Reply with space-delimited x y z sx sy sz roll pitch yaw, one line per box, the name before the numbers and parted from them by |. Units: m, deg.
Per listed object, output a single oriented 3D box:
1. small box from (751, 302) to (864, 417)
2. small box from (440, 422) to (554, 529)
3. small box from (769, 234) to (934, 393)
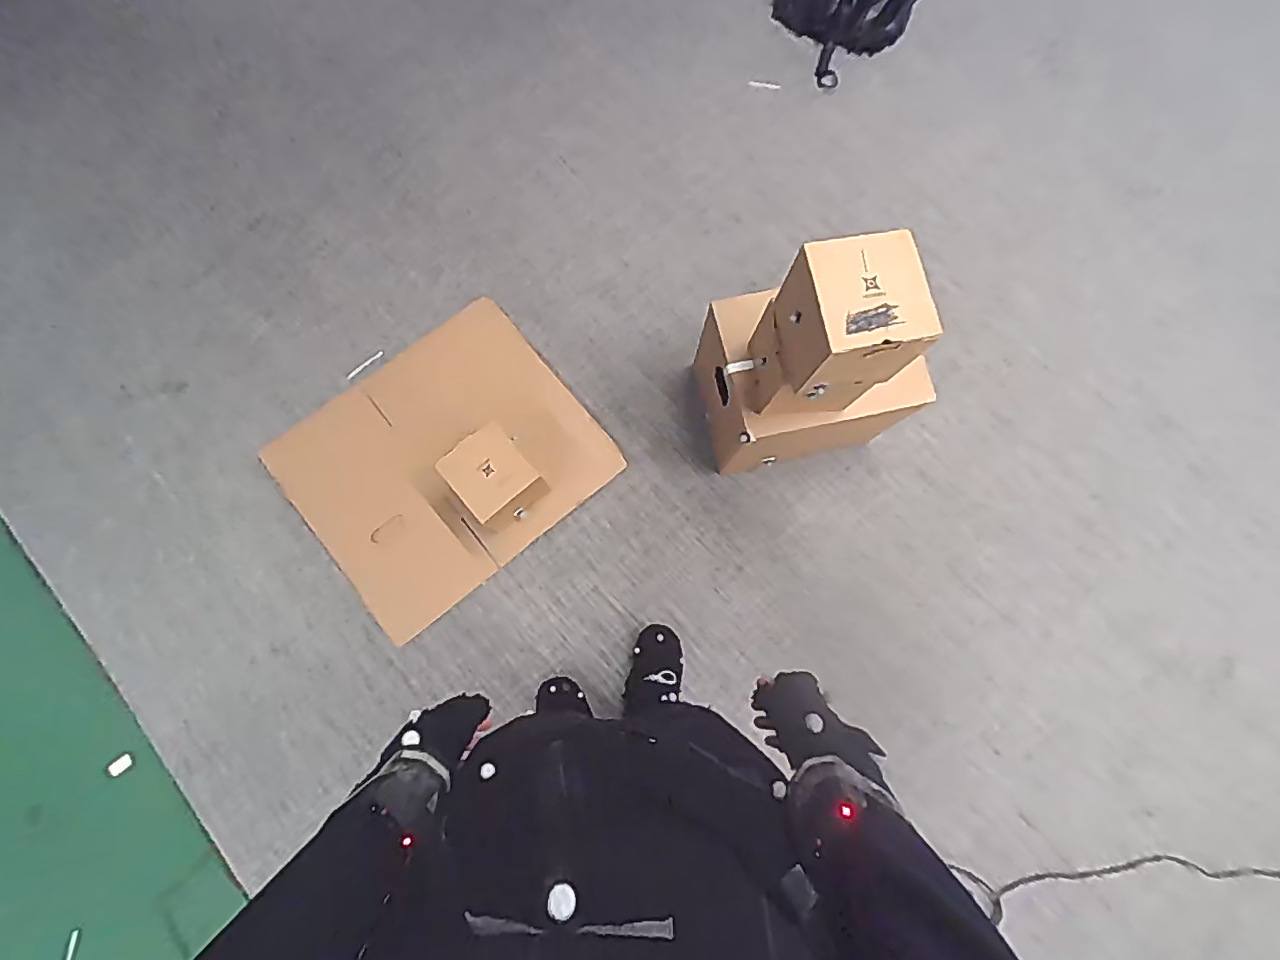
small box | 0.317 -0.229 1.025 0.179 0.176 0.168 -7 77 -3
small box | -0.324 -0.001 1.260 0.168 0.176 0.179 -41 82 -7
small box | 0.322 -0.250 0.859 0.168 0.176 0.179 -13 80 -4
